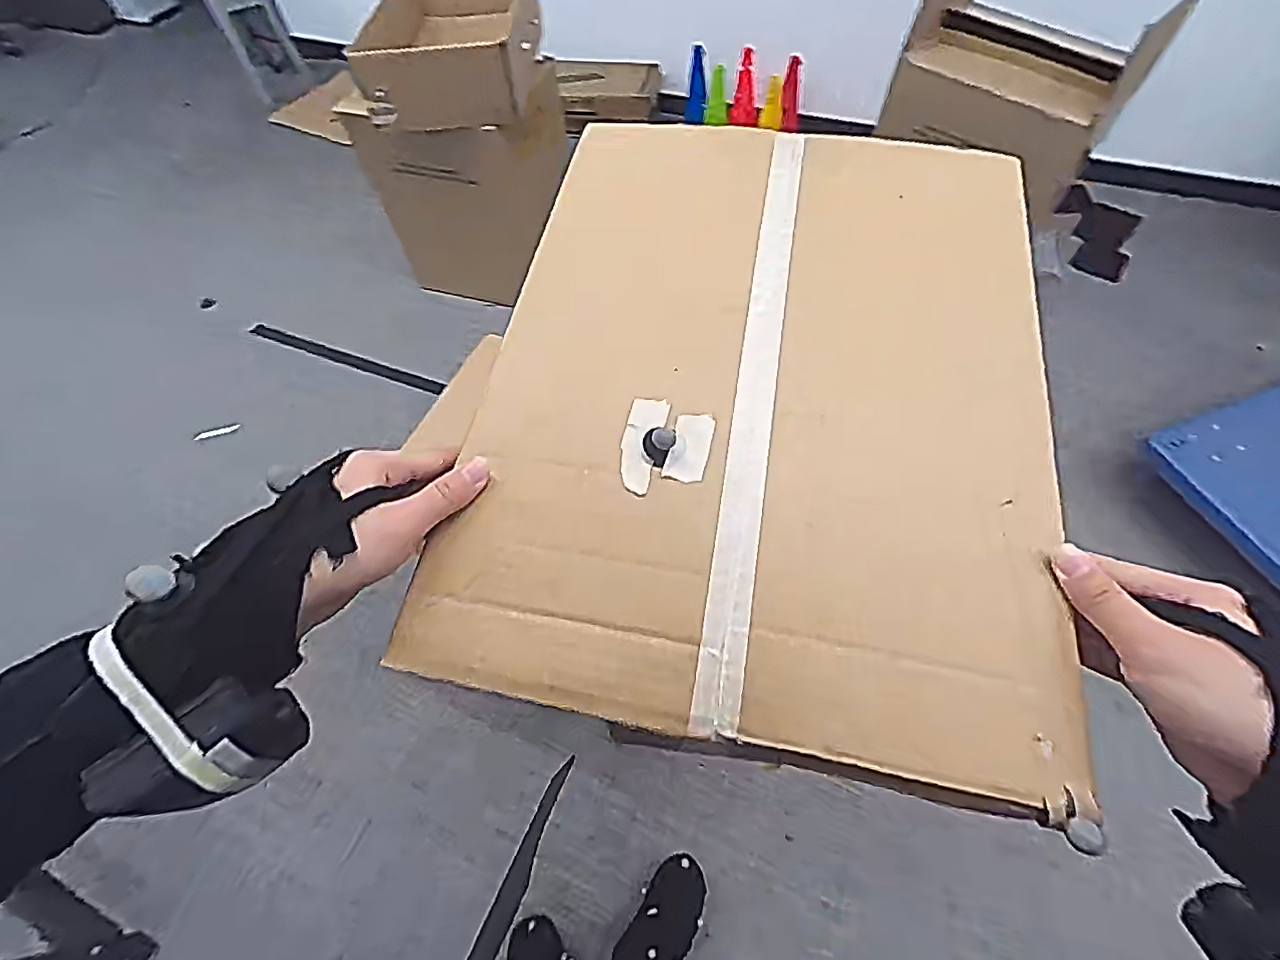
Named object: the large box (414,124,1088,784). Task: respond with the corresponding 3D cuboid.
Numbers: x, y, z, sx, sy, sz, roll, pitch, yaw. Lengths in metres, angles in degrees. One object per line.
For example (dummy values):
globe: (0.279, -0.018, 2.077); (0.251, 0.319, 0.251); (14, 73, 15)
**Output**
large box: (0.077, -0.012, 0.456); (0.320, 0.320, 0.408); (8, 67, 7)
